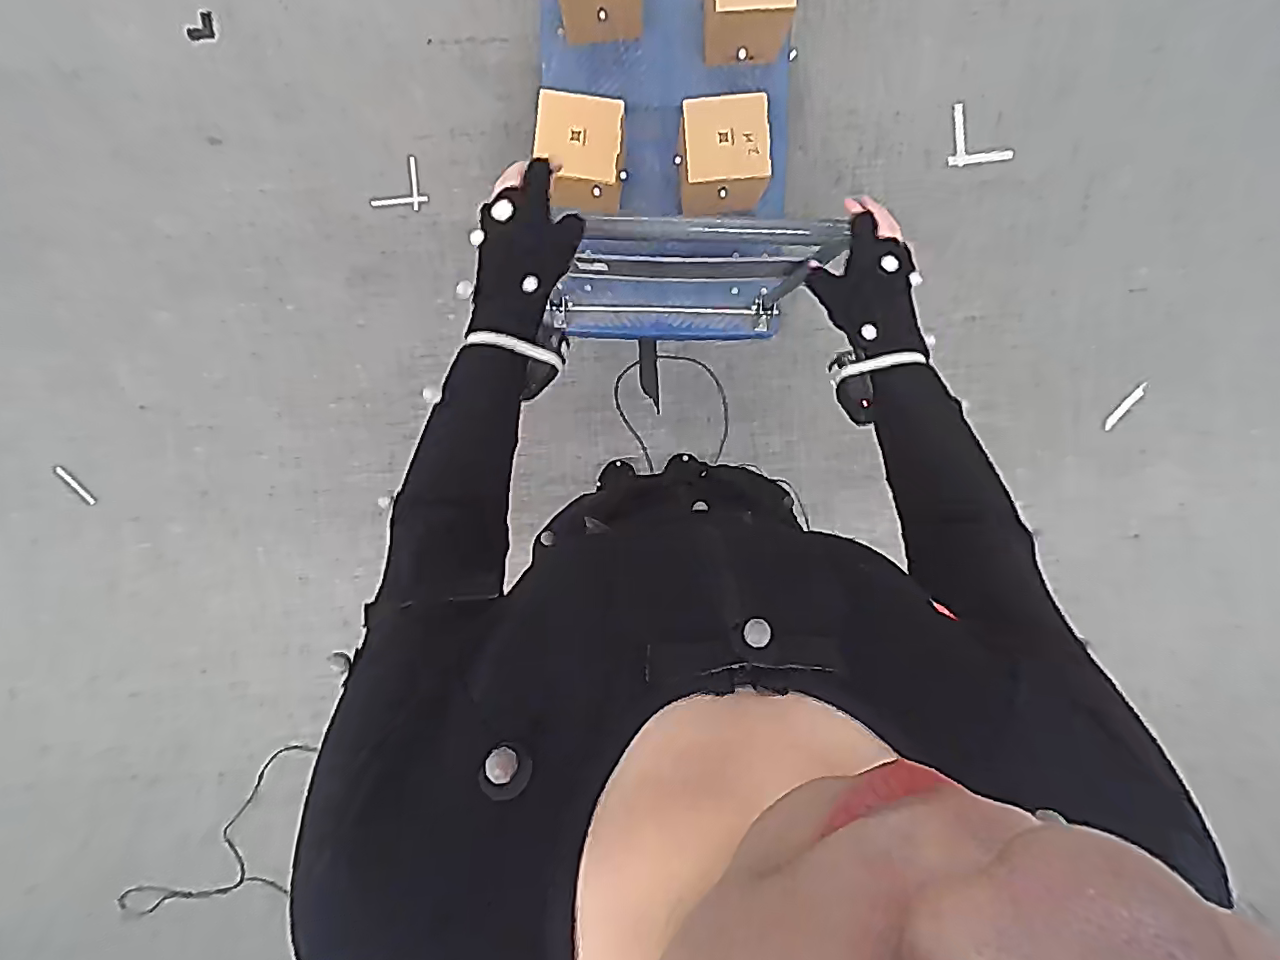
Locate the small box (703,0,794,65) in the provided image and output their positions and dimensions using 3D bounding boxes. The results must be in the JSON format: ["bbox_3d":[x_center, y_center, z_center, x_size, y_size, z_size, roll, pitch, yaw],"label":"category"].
[{"bbox_3d":[0.228,-1.044,1.167,0.168,0.176,0.179,-2,96,0],"label":"small box"}]

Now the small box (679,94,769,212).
[{"bbox_3d":[0.178,-0.711,1.194,0.179,0.176,0.168,-5,95,0],"label":"small box"}]

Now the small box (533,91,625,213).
[{"bbox_3d":[-0.128,-0.713,1.193,0.179,0.176,0.168,6,94,-2],"label":"small box"}]
